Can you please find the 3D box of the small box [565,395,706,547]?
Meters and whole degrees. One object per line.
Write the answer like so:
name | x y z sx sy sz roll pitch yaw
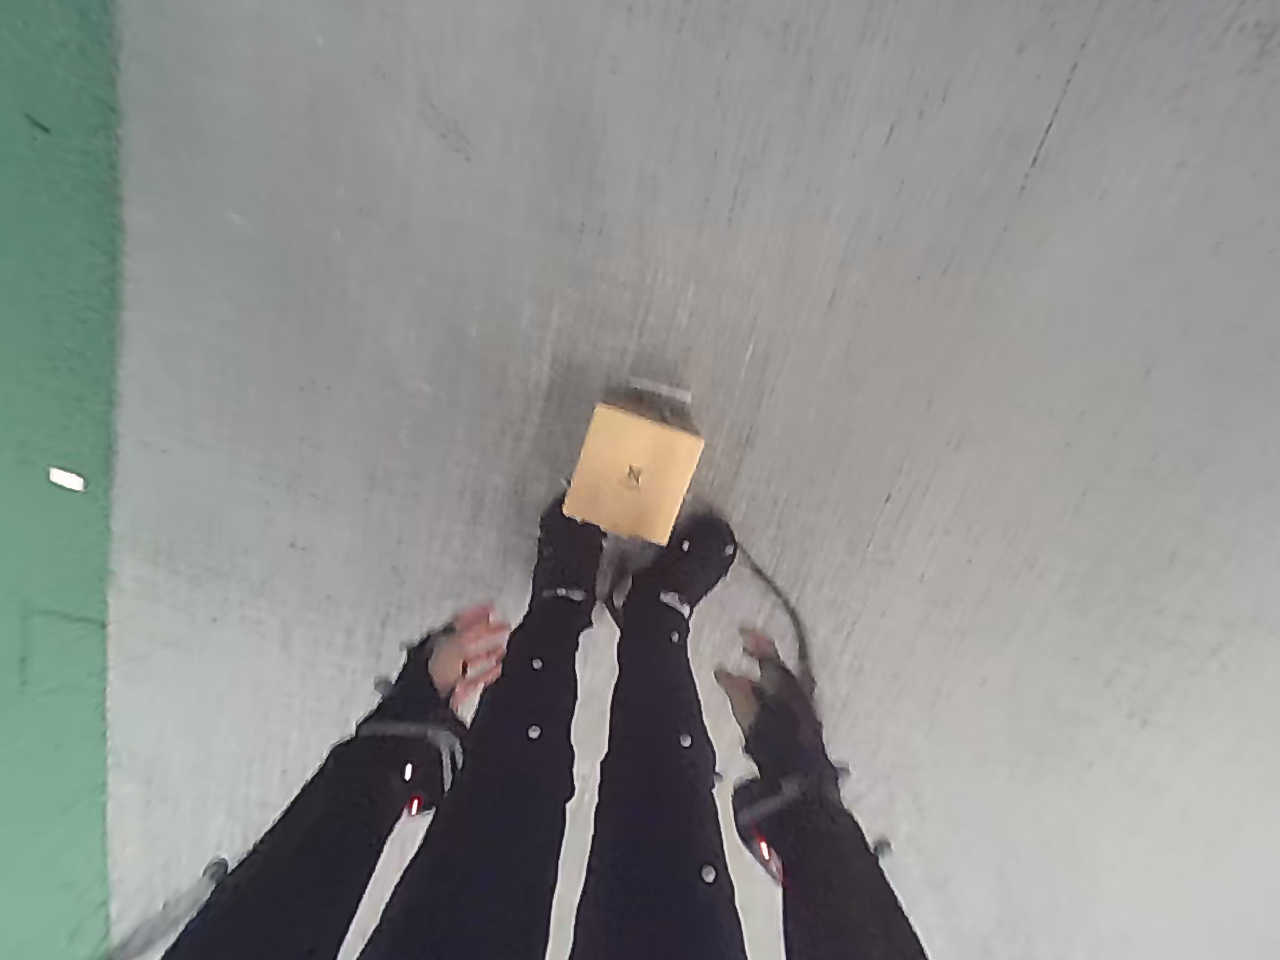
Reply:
small box | -0.010 -0.024 0.864 0.168 0.176 0.179 19 106 -6
